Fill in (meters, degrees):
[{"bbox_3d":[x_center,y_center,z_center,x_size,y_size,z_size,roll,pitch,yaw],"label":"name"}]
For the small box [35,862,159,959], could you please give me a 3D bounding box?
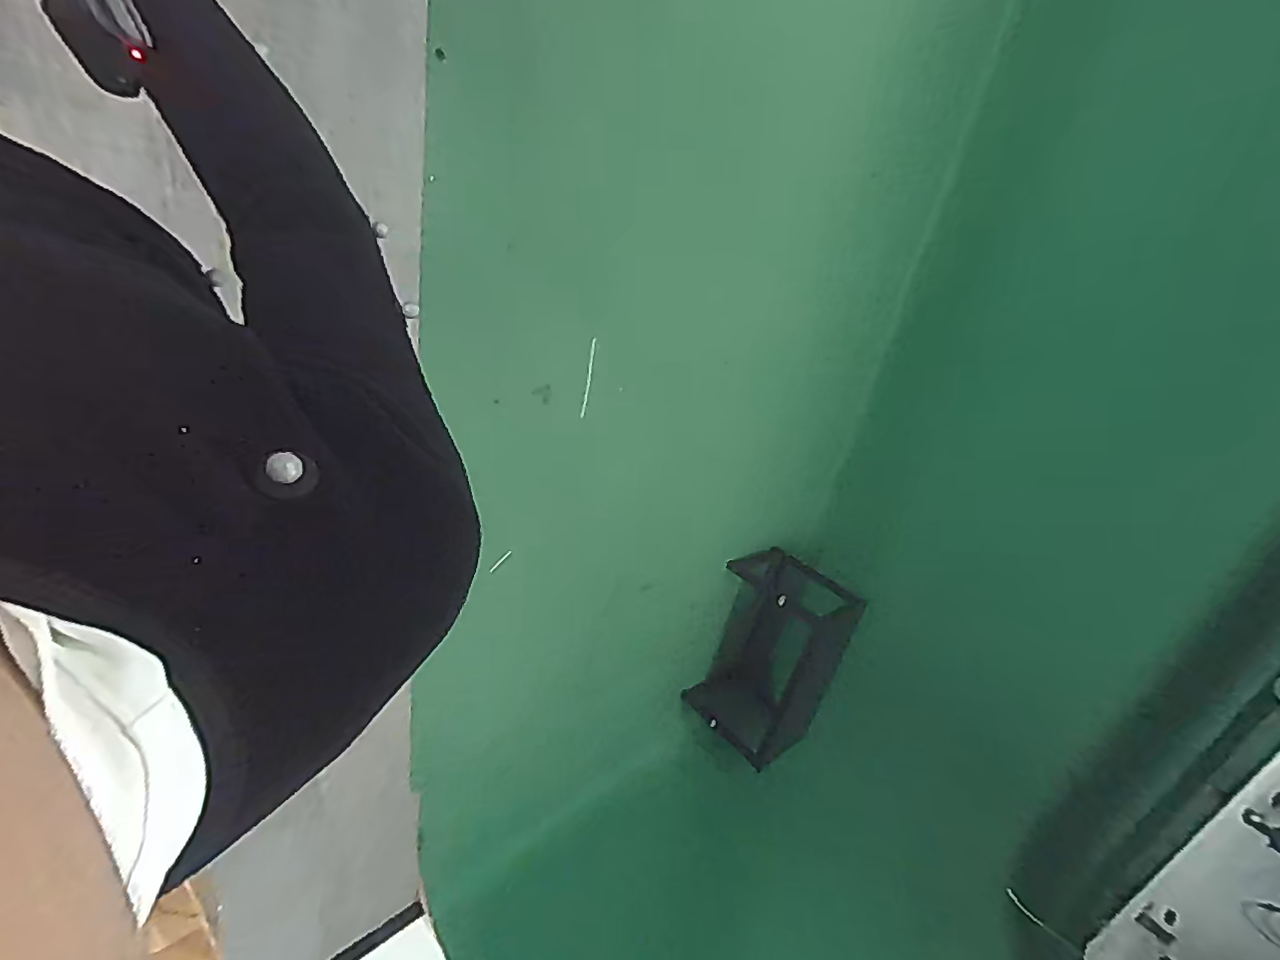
[{"bbox_3d":[-1.215,1.009,1.213,0.168,0.176,0.179,-15,128,-41],"label":"small box"}]
